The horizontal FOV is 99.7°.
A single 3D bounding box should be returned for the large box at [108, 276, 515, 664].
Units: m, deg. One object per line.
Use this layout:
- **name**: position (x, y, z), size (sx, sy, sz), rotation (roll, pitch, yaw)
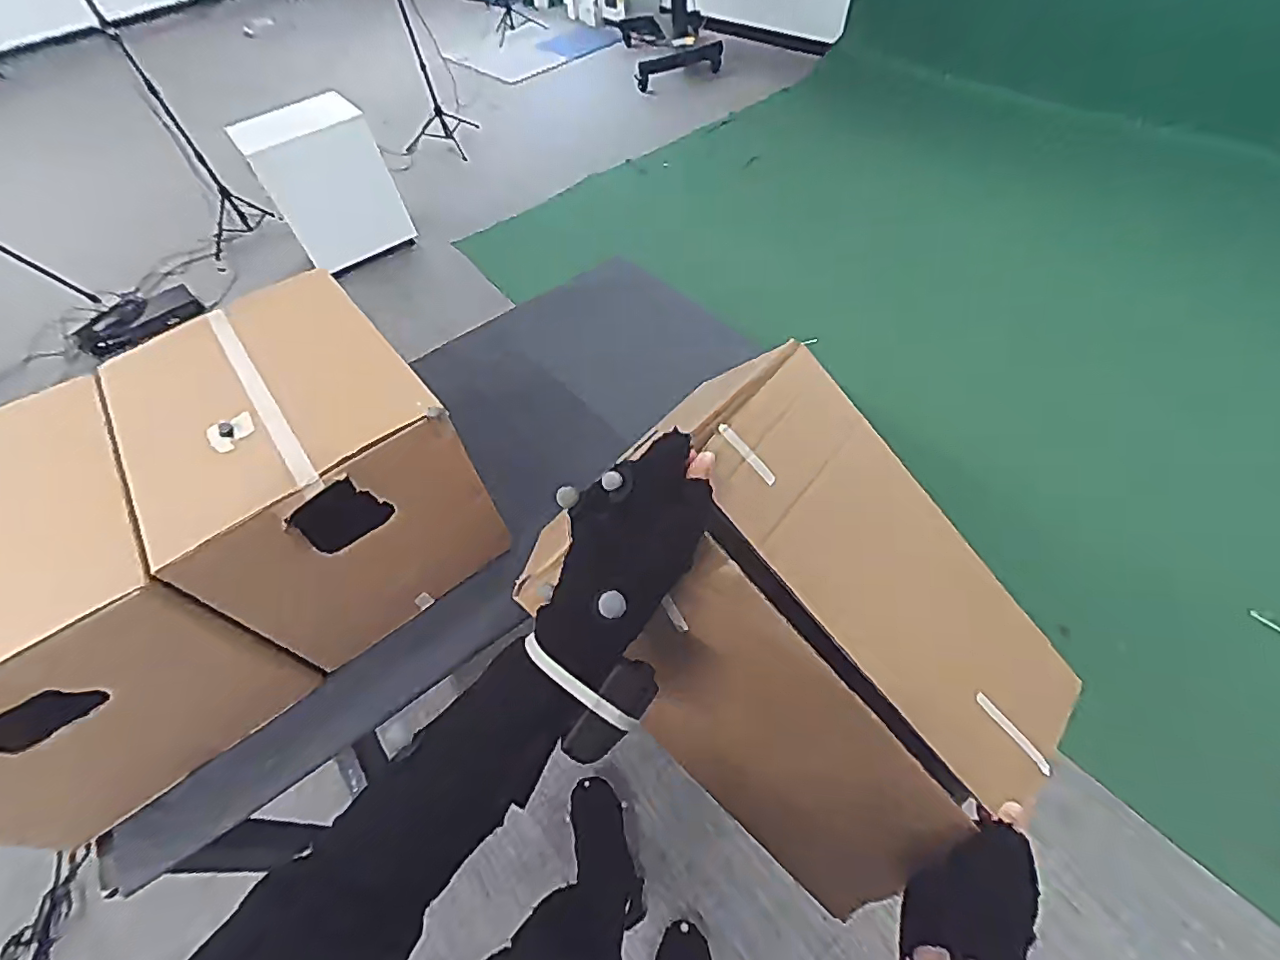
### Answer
- **large box**: position (-0.445, -0.021, 0.784), size (0.320, 0.320, 0.408), rotation (-37, 59, -18)
